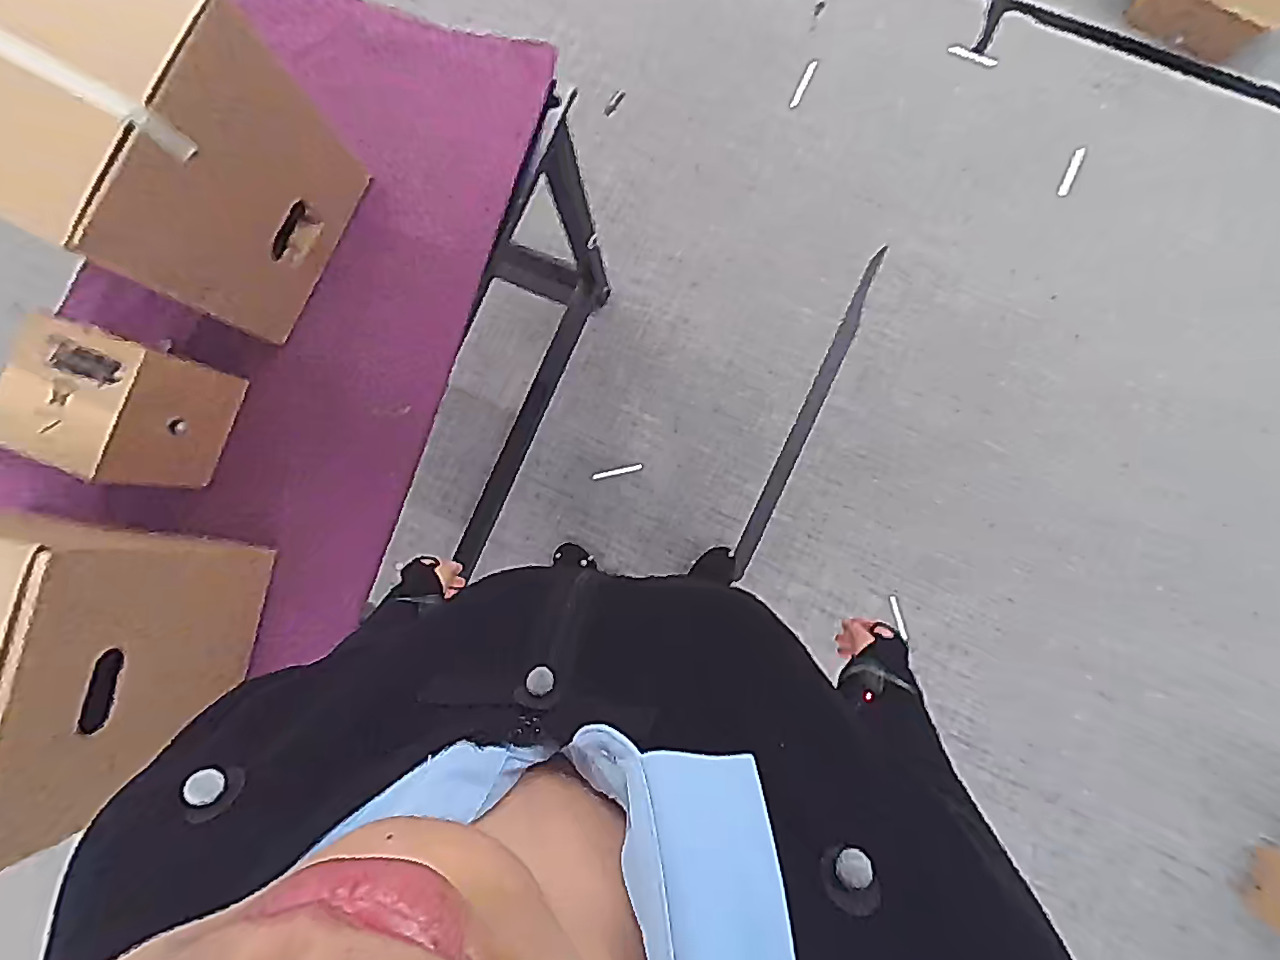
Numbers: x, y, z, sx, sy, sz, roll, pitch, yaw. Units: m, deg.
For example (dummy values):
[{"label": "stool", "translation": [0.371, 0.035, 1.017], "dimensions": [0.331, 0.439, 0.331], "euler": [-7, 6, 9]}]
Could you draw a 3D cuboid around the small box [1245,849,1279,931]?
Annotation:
[{"label": "small box", "translation": [1.614, 1.020, 1.276], "dimensions": [0.179, 0.176, 0.168], "euler": [20, 86, 3]}]
